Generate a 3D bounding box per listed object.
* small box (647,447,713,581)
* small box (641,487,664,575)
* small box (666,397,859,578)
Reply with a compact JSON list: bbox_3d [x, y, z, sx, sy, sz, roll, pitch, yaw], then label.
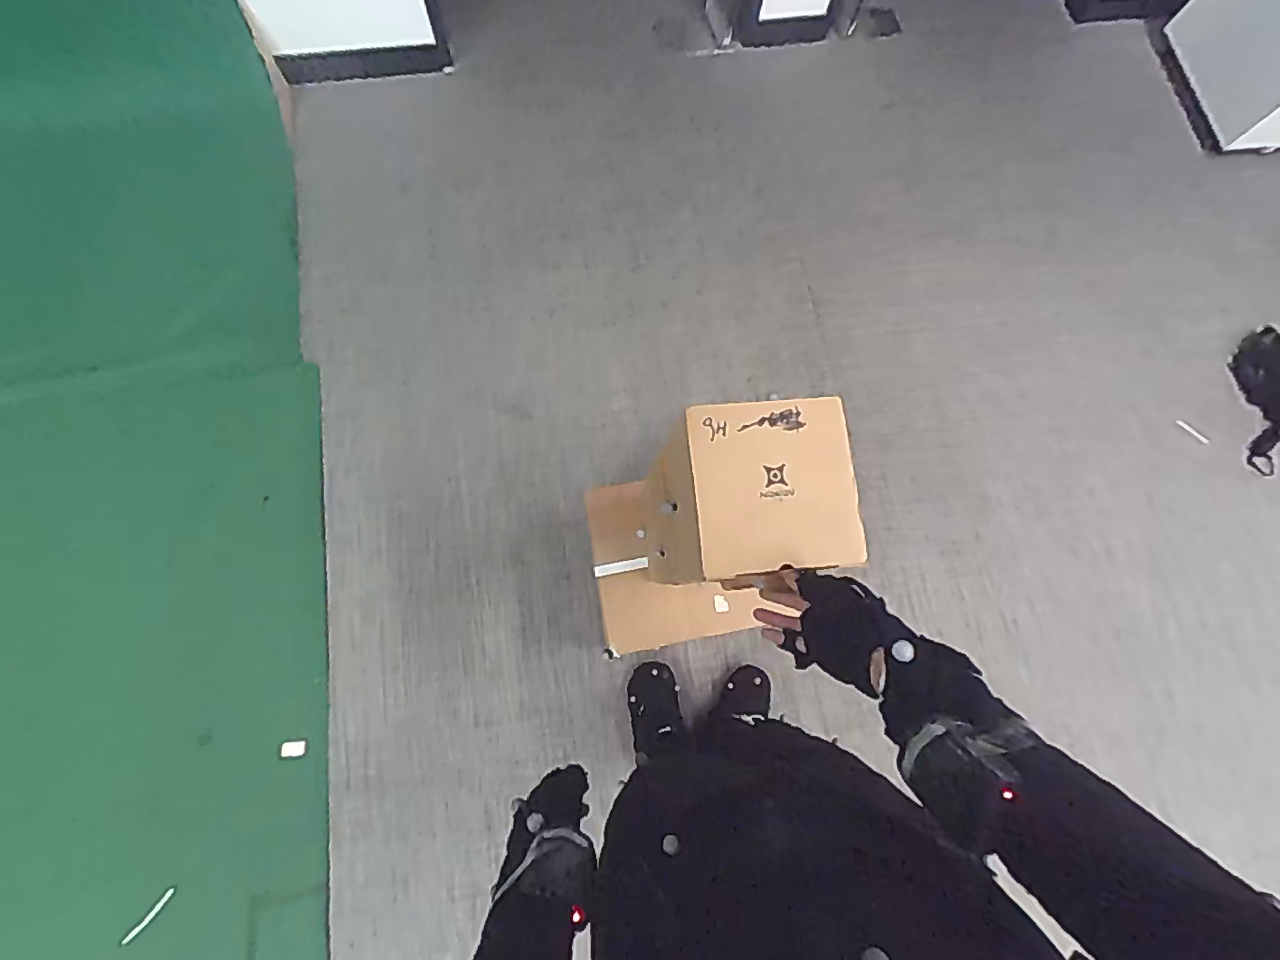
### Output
[{"bbox_3d":[0.106,0.048,0.781,0.168,0.176,0.179,-6,80,-7],"label":"small box"},{"bbox_3d":[0.099,0.078,0.938,0.179,0.176,0.168,-2,79,-5],"label":"small box"},{"bbox_3d":[0.126,0.015,0.622,0.168,0.176,0.179,-4,81,-6],"label":"small box"}]
